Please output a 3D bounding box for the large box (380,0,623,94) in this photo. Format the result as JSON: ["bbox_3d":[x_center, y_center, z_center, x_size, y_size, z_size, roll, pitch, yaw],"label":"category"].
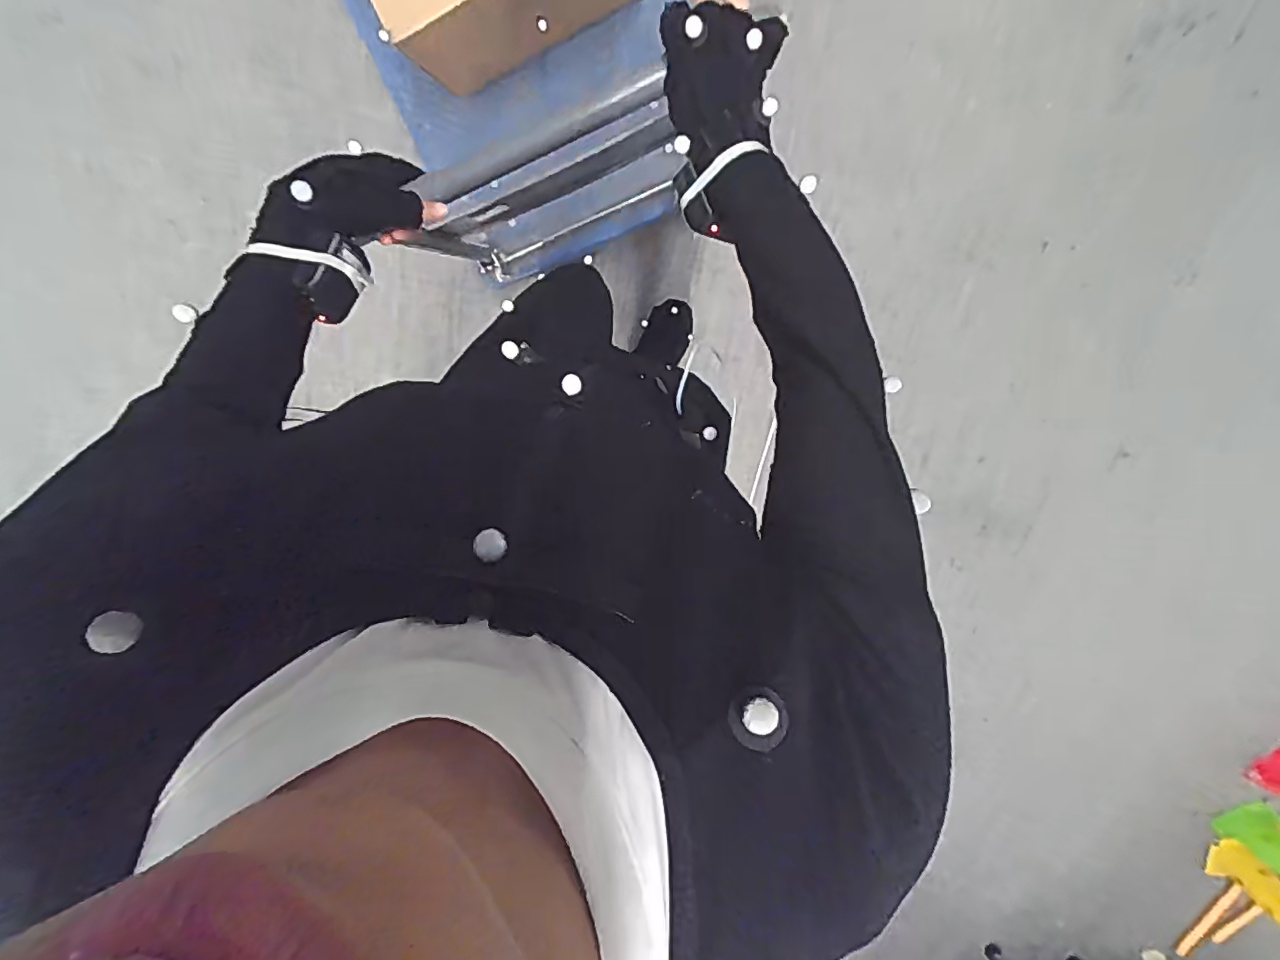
[{"bbox_3d":[-0.223,-0.887,0.825,0.408,0.320,0.320,-23,110,11],"label":"large box"}]
